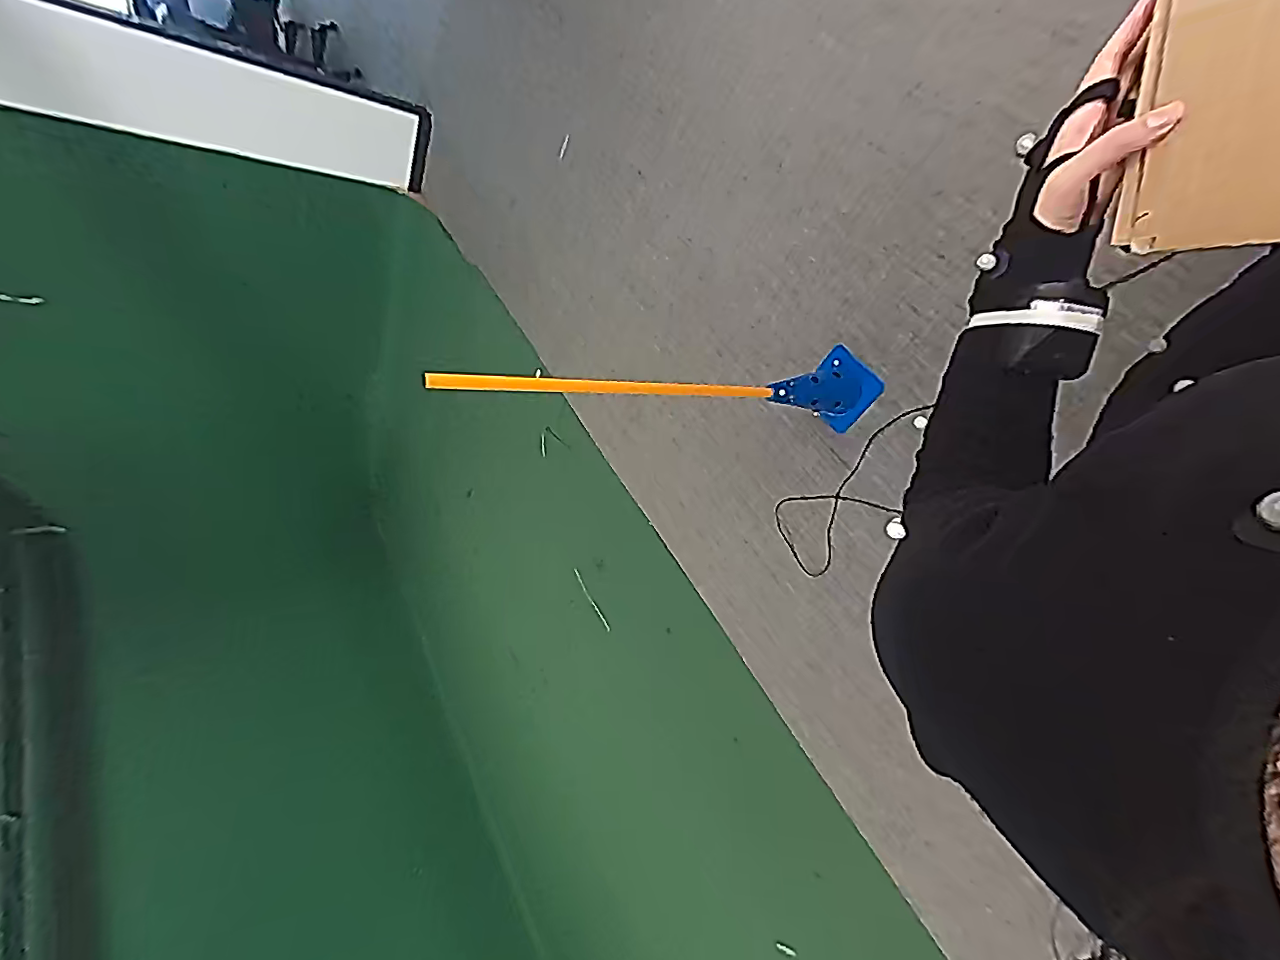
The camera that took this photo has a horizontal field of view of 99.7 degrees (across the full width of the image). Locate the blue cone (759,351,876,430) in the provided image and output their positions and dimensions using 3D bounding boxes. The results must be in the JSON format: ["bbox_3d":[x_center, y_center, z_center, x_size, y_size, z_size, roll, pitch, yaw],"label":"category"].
[{"bbox_3d":[0.450,-0.243,1.483,0.193,0.380,0.192,54,132,28],"label":"blue cone"}]
